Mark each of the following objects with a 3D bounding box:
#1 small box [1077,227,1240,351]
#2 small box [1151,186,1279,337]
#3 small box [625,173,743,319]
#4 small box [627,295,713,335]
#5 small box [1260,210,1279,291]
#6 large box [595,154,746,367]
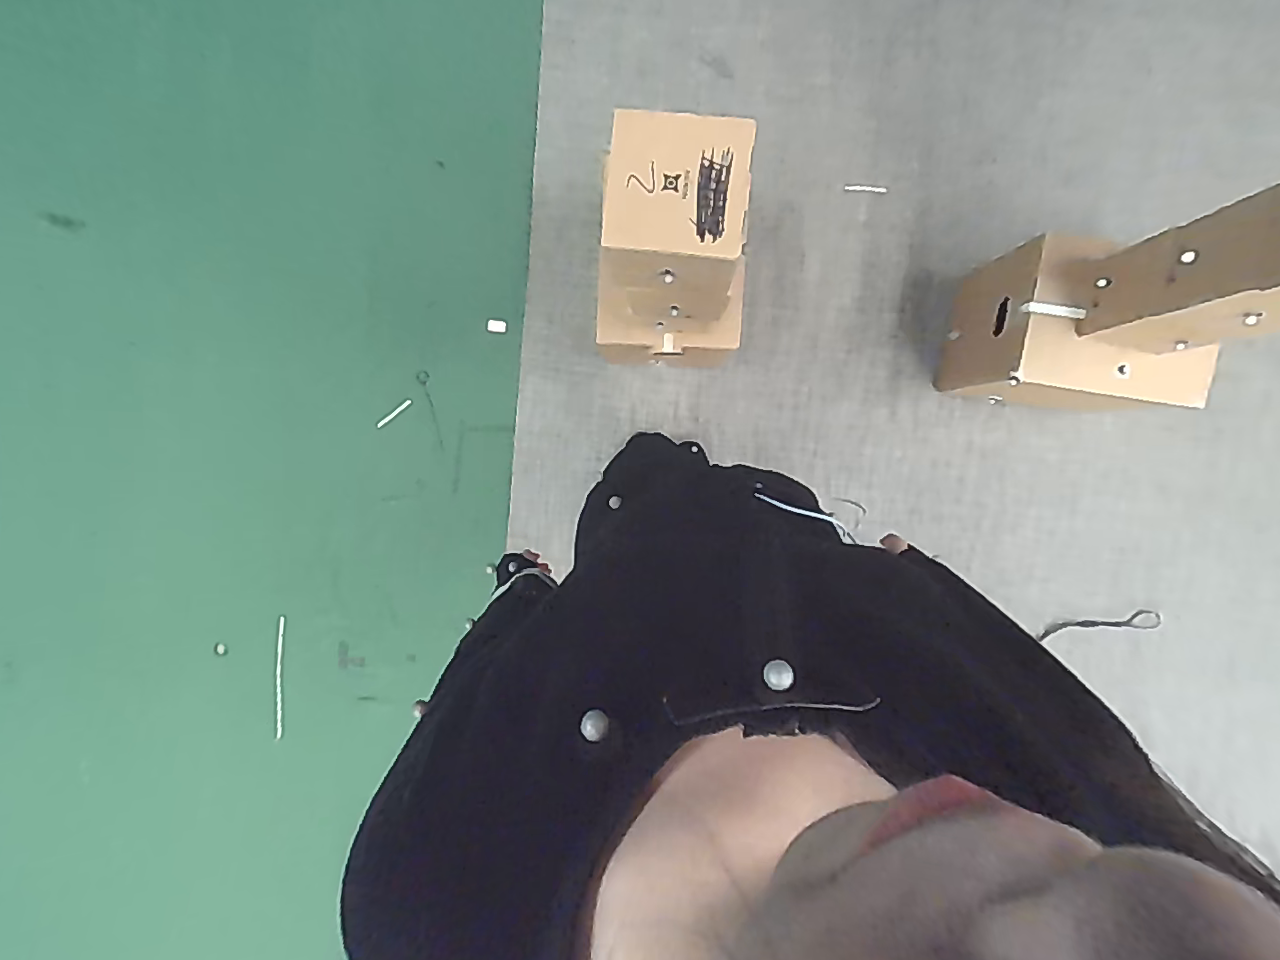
[{"bbox_3d":[1.007,-0.354,1.038,0.179,0.176,0.168,13,93,1],"label":"small box"},{"bbox_3d":[1.004,-0.342,0.874,0.179,0.176,0.168,14,92,1],"label":"small box"},{"bbox_3d":[0.070,-0.377,0.901,0.168,0.176,0.179,5,94,1],"label":"small box"},{"bbox_3d":[0.068,-0.391,1.066,0.168,0.176,0.179,5,93,2],"label":"small box"},{"bbox_3d":[0.999,-0.338,0.710,0.168,0.176,0.179,13,93,0],"label":"small box"},{"bbox_3d":[0.071,-0.496,1.302,0.320,0.320,0.408,3,93,2],"label":"large box"}]
